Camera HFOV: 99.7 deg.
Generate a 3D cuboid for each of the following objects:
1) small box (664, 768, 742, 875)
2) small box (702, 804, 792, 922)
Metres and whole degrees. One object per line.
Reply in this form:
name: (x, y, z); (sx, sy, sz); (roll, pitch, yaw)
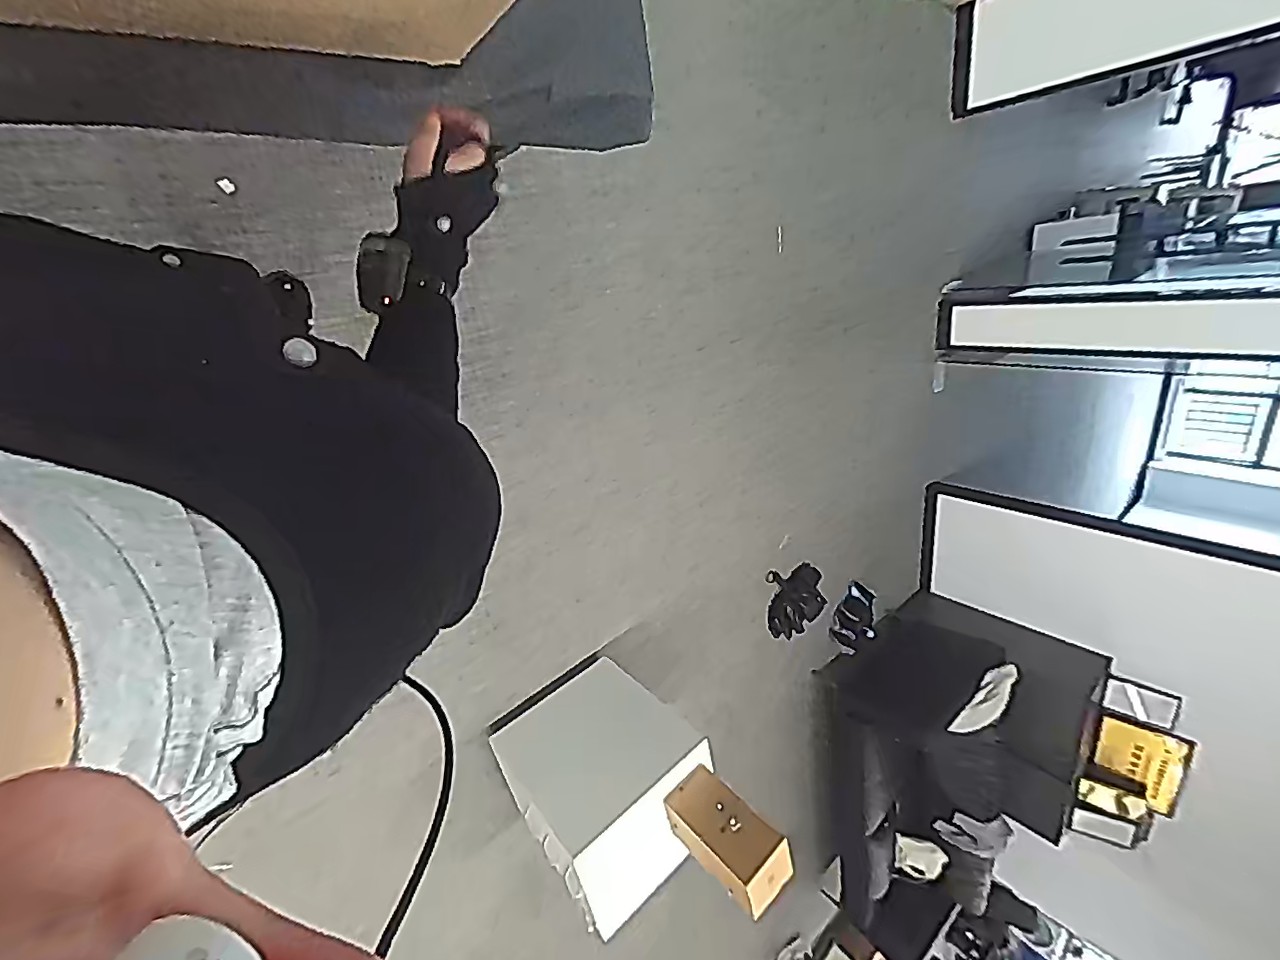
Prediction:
small box: (0.194, 1.009, 1.614); (0.168, 0.176, 0.179); (-29, 121, -29)
small box: (0.294, 1.045, 1.490); (0.168, 0.176, 0.179); (-32, 121, -28)
